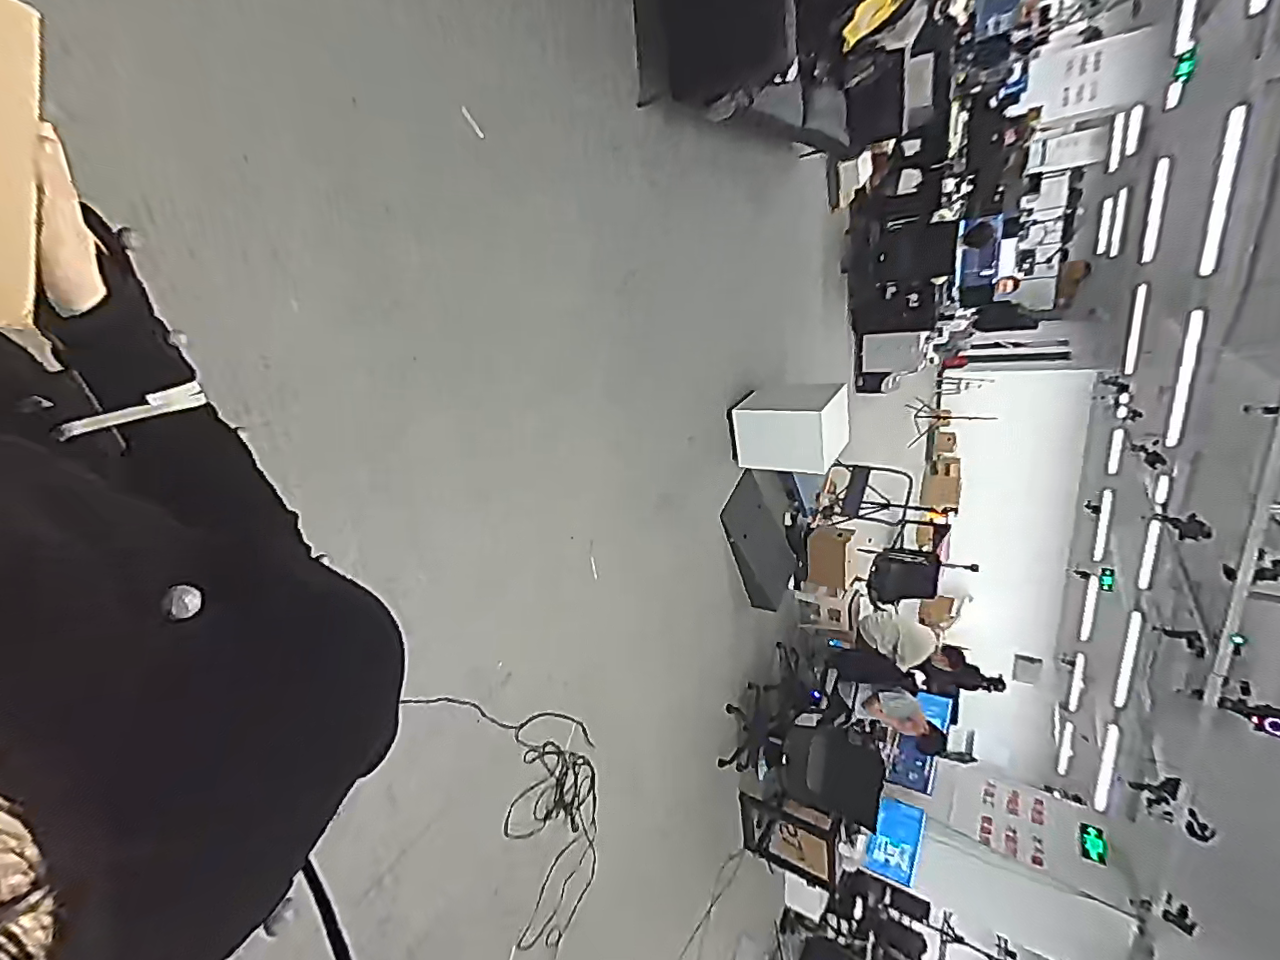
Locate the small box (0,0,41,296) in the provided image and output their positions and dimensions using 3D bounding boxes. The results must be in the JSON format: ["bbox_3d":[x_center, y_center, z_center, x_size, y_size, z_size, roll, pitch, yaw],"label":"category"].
[{"bbox_3d":[-0.452,-0.214,0.268,0.168,0.176,0.179,-7,117,-63],"label":"small box"}]
